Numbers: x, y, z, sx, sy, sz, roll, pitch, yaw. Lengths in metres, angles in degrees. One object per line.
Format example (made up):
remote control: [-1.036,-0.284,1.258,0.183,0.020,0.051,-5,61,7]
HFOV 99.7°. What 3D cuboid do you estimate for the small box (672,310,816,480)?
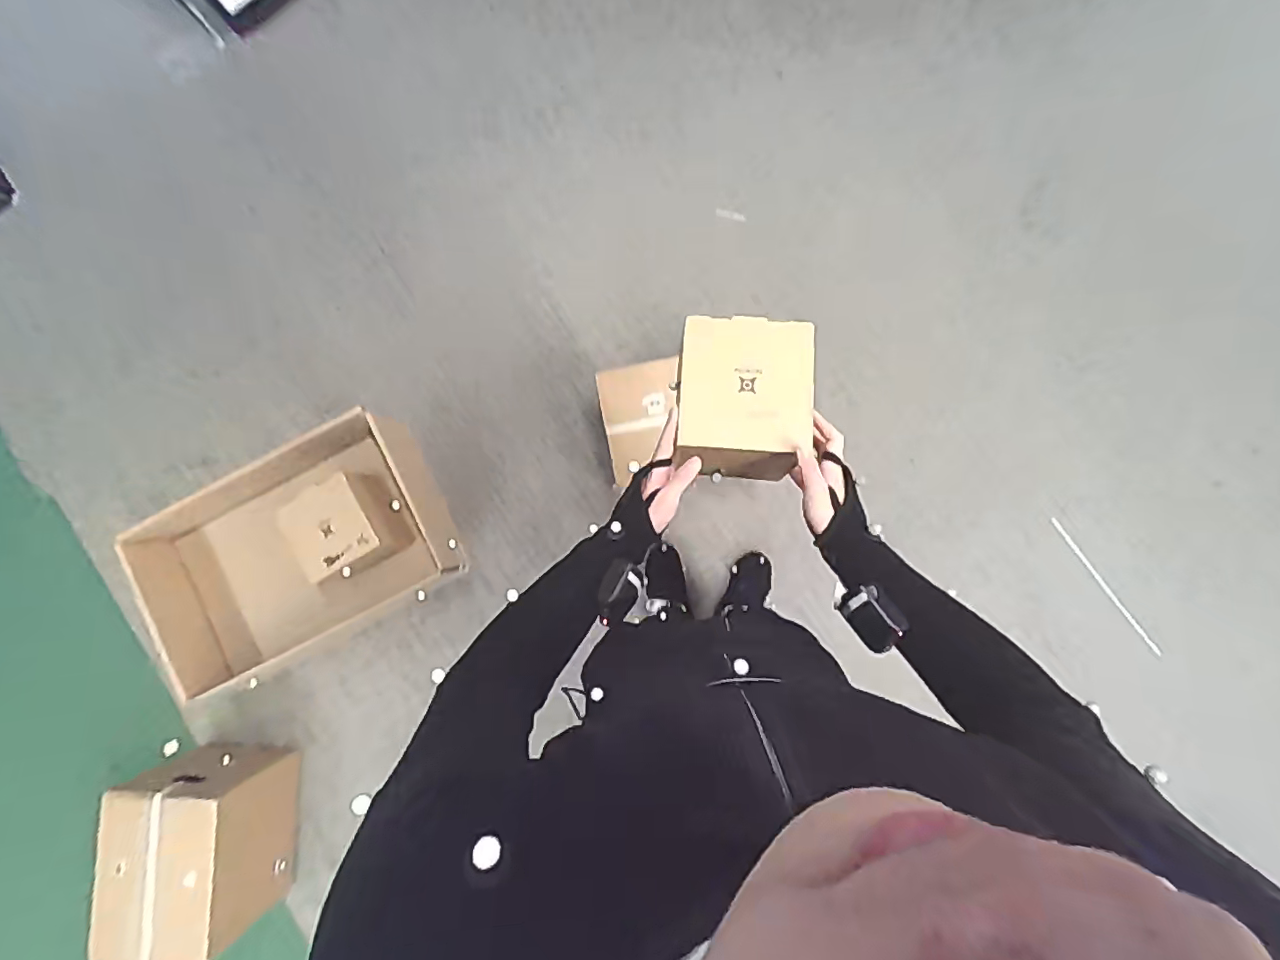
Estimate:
small box: [0.133,-0.108,0.742,0.168,0.176,0.179,5,79,2]

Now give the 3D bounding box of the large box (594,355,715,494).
large box: [0.114,-0.152,1.505,0.408,0.320,0.320,-12,85,3]

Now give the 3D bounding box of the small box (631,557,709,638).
small box: [0.087,0.335,1.560,0.179,0.176,0.168,33,86,13]
